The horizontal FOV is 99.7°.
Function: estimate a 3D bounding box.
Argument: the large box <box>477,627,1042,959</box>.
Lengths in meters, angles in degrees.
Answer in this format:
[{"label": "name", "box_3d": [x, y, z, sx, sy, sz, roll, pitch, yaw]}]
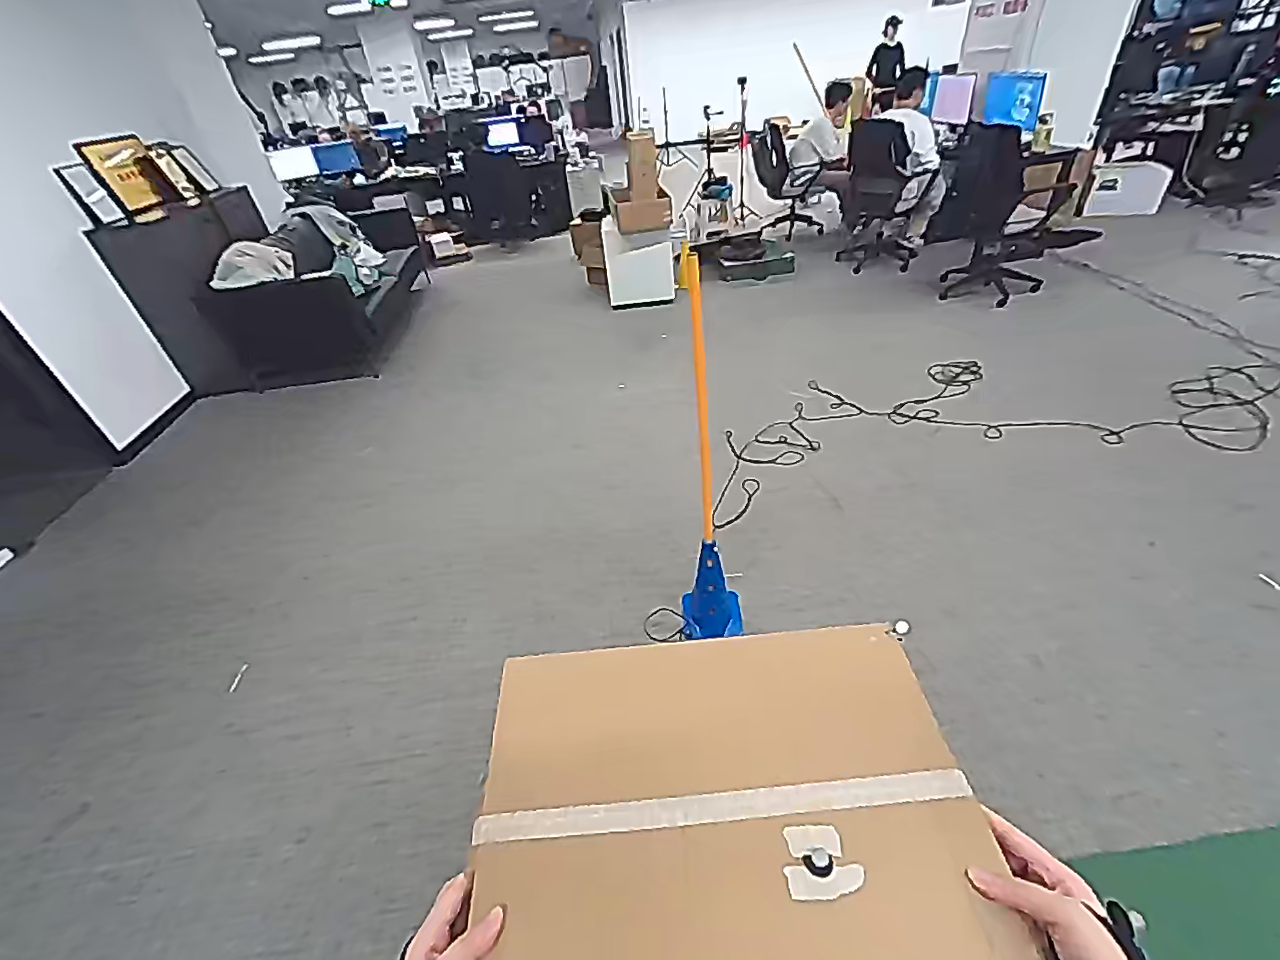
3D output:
[{"label": "large box", "box_3d": [0.080, 0.387, 0.554, 0.408, 0.320, 0.320, -5, 42, 0]}]

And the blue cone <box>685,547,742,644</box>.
[{"label": "blue cone", "box_3d": [0.234, 0.358, 1.774, 0.193, 0.380, 0.192, -3, 38, 6]}]
